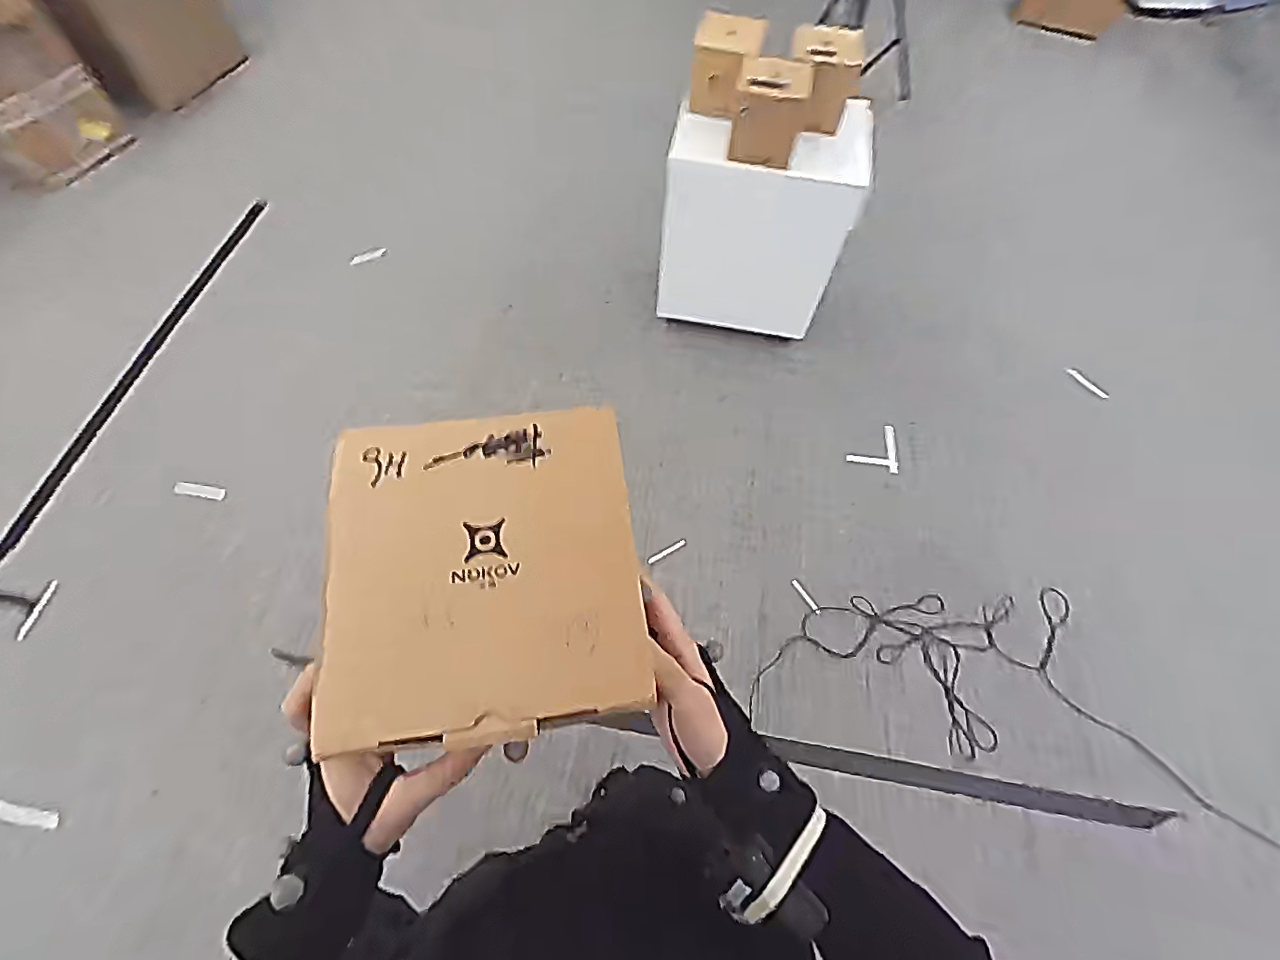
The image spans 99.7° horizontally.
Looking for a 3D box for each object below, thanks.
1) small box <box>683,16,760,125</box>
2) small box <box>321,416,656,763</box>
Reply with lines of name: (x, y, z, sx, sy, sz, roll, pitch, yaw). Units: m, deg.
small box: (0.214, -1.090, 1.446, 0.168, 0.176, 0.179, 13, 63, 4)
small box: (-0.085, 0.078, 0.367, 0.168, 0.176, 0.179, -5, 67, -7)
